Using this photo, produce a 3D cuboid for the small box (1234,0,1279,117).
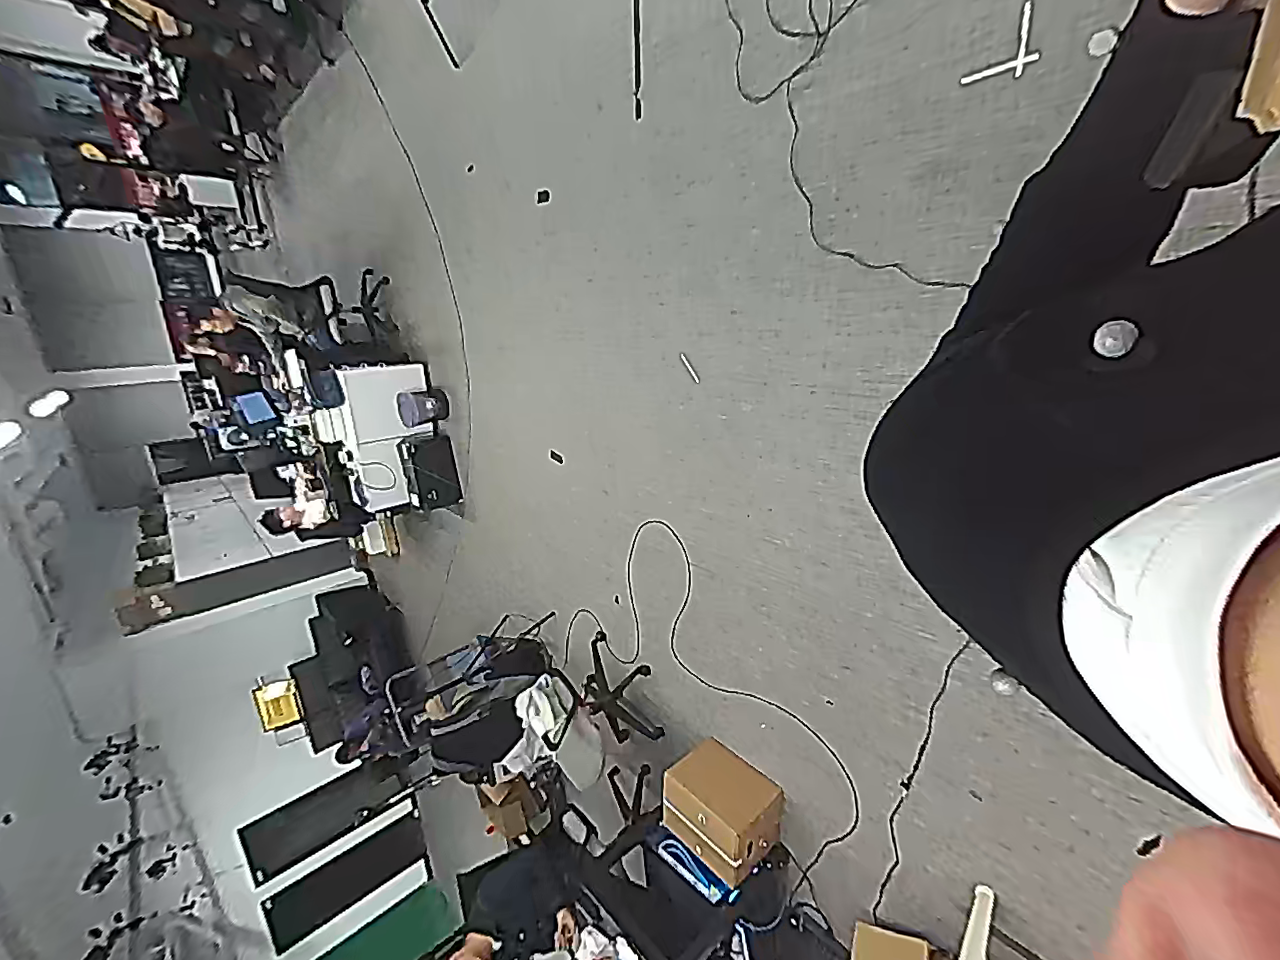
[{"bbox_3d":[0.308,-0.226,0.151,0.168,0.176,0.179,14,129,40],"label":"small box"}]
